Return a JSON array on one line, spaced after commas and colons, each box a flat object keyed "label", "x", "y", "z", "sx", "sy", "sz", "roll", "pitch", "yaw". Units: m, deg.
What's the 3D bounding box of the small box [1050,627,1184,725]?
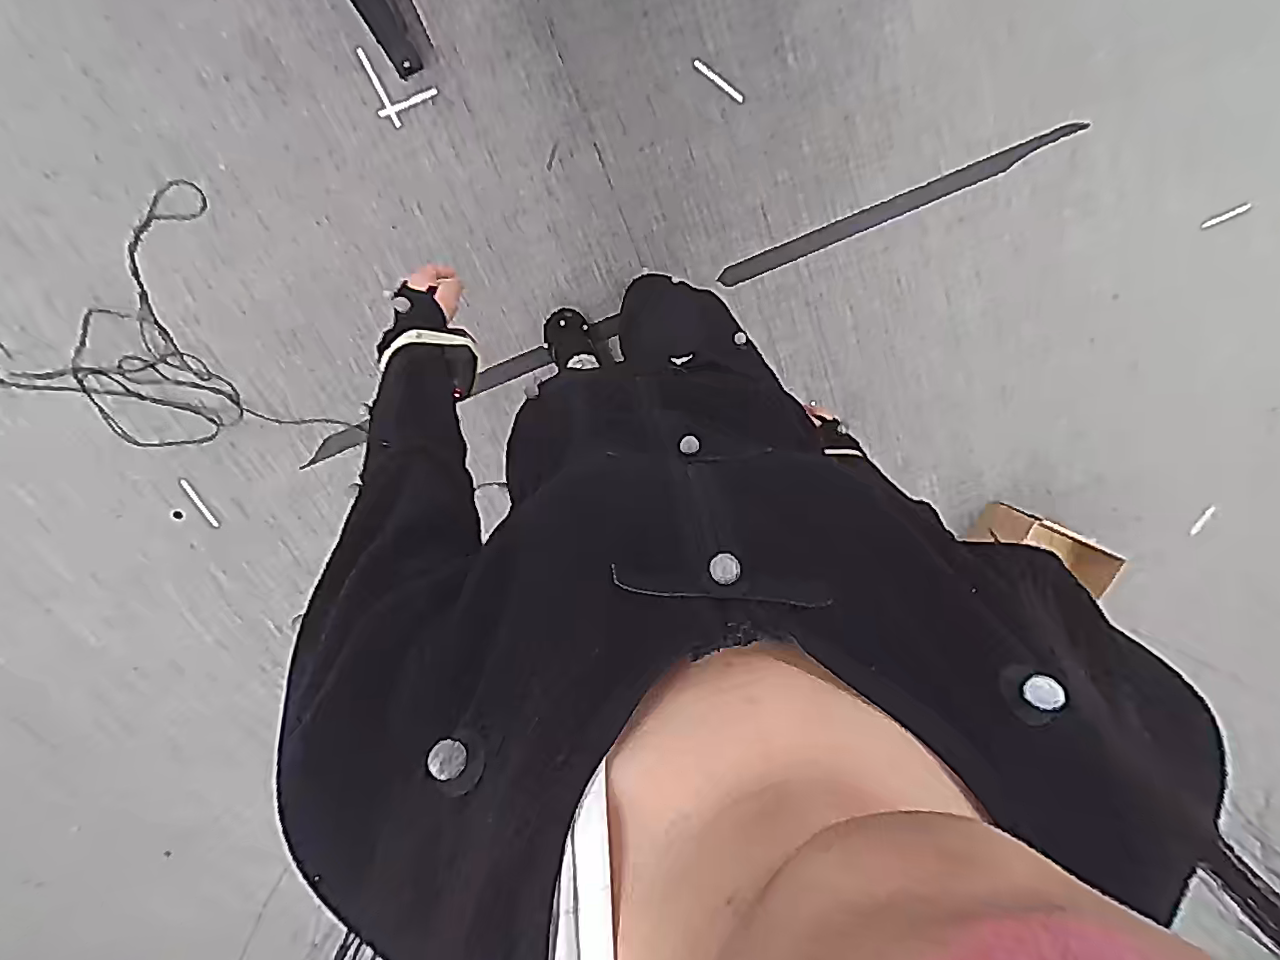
[{"label": "small box", "x": 1.260, "y": 0.518, "z": 1.444, "sx": 0.179, "sy": 0.176, "sz": 0.168, "roll": 16, "pitch": 107, "yaw": -14}]
